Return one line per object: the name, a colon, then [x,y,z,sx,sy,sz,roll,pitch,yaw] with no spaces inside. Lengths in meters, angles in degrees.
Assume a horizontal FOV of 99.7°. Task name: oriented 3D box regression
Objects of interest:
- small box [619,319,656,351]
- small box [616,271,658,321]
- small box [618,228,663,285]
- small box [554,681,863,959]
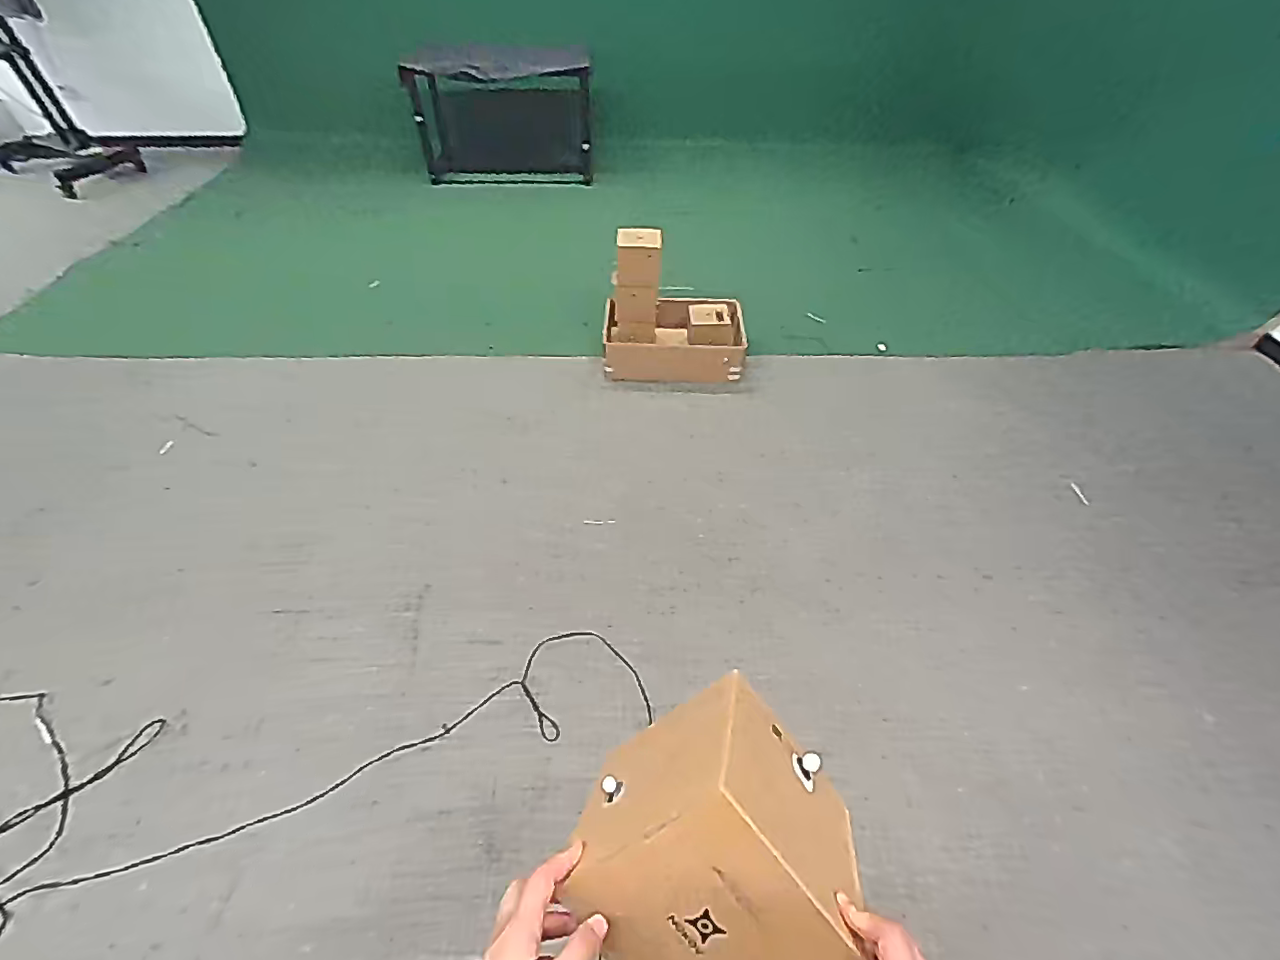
small box: [-0.010,-0.704,2.474,0.168,0.176,0.179,1,48,-1]
small box: [-0.012,-0.807,2.346,0.179,0.176,0.168,2,49,-1]
small box: [0.001,-0.916,2.222,0.179,0.176,0.168,1,48,0]
small box: [0.063,0.318,0.472,0.168,0.179,0.176,48,16,0]
